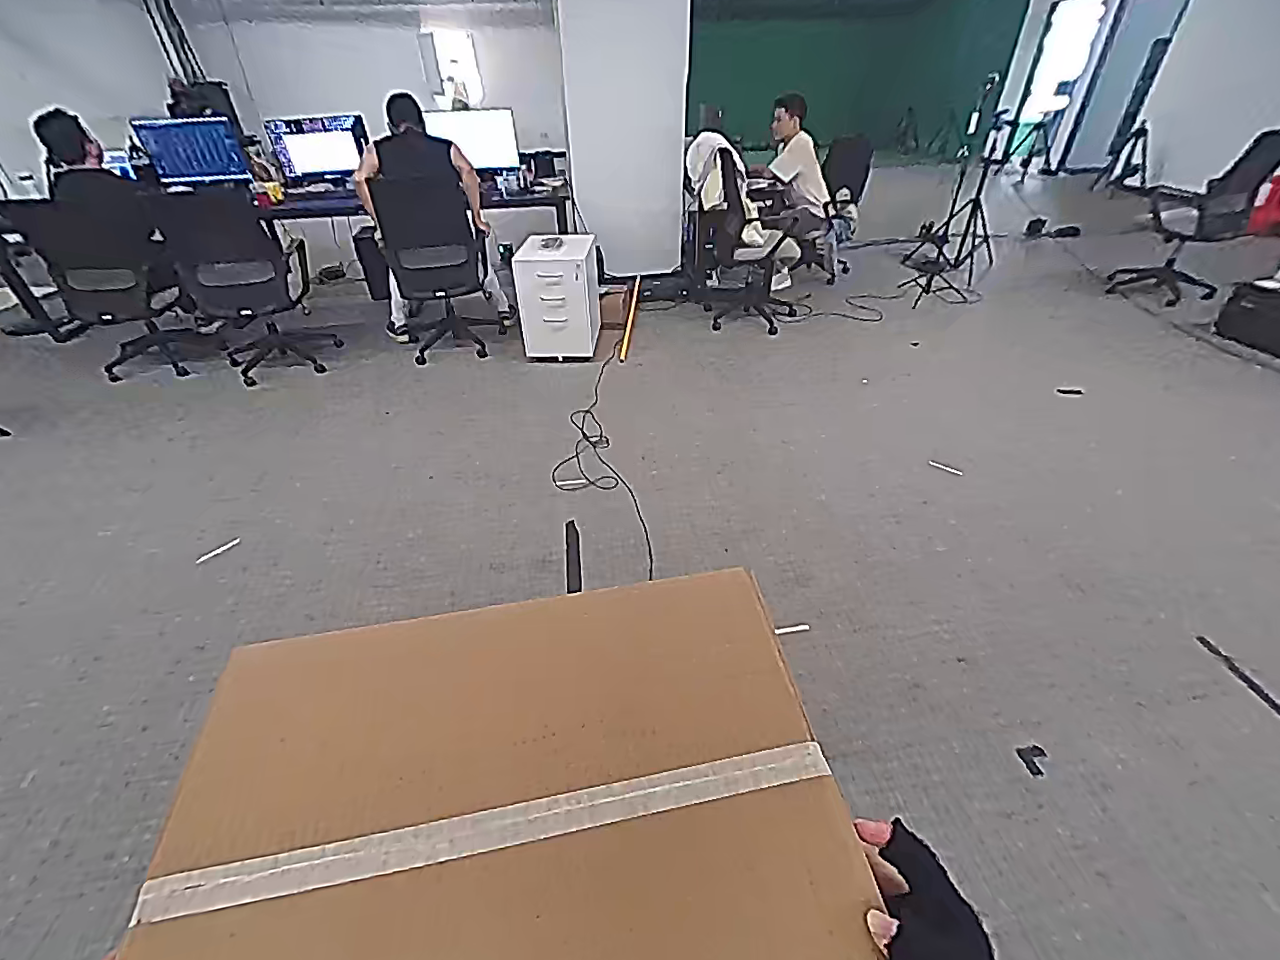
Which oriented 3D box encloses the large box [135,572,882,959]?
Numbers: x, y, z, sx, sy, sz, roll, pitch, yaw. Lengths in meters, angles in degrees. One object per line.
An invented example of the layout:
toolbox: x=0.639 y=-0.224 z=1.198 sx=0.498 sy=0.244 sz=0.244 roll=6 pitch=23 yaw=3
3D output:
large box: x=-0.081 y=0.317 z=0.446 sx=0.408 sy=0.320 sz=0.320 roll=-8 pitch=45 yaw=-7
